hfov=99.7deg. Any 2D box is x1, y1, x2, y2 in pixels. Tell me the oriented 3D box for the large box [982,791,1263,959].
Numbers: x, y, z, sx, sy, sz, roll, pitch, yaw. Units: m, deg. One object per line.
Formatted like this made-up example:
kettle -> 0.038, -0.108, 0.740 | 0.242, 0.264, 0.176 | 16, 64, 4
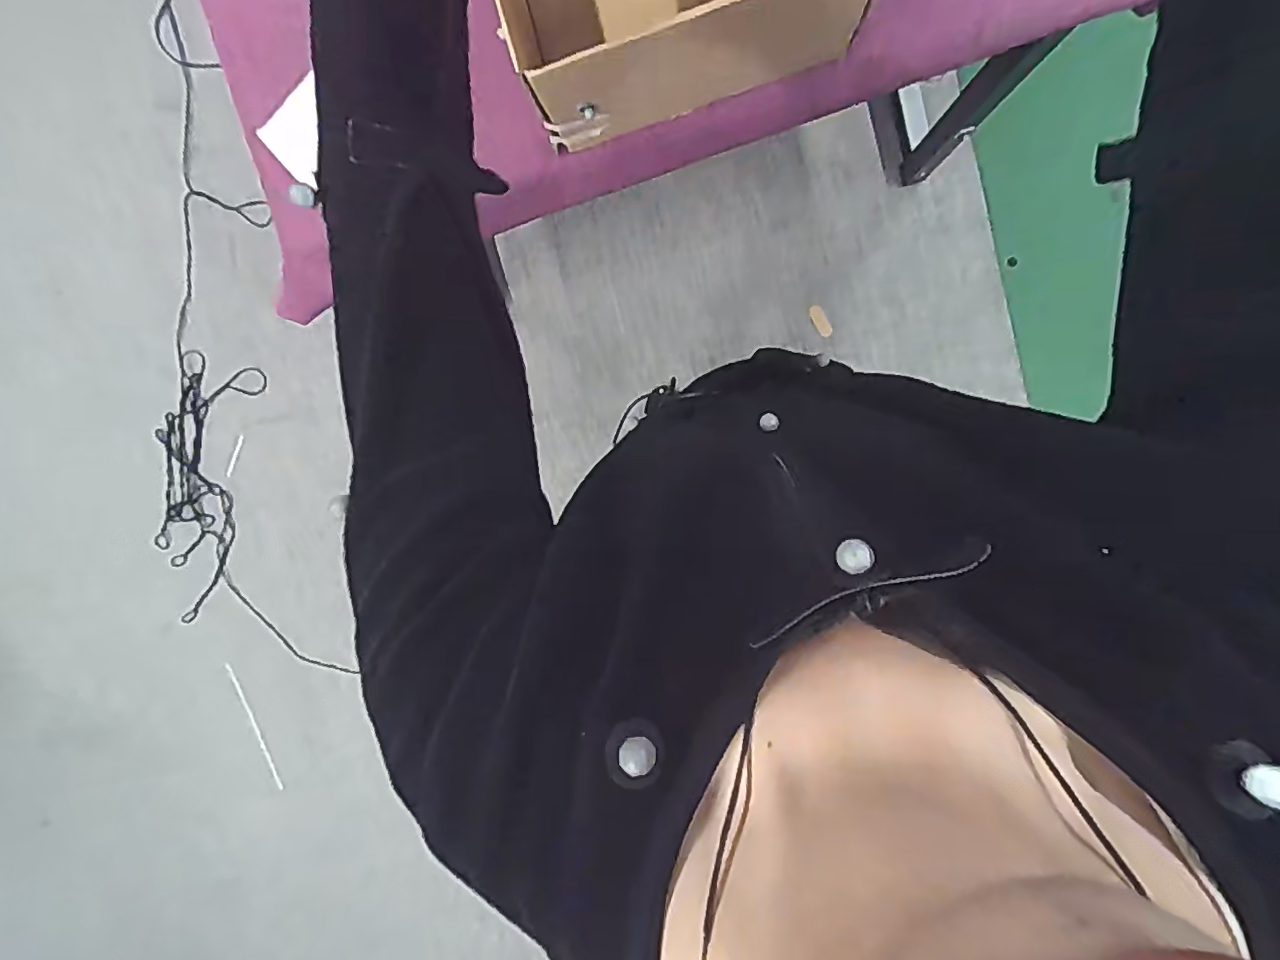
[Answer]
large box -> 1.195, 1.091, 1.370 | 0.408, 0.320, 0.320 | -30, 94, 9
